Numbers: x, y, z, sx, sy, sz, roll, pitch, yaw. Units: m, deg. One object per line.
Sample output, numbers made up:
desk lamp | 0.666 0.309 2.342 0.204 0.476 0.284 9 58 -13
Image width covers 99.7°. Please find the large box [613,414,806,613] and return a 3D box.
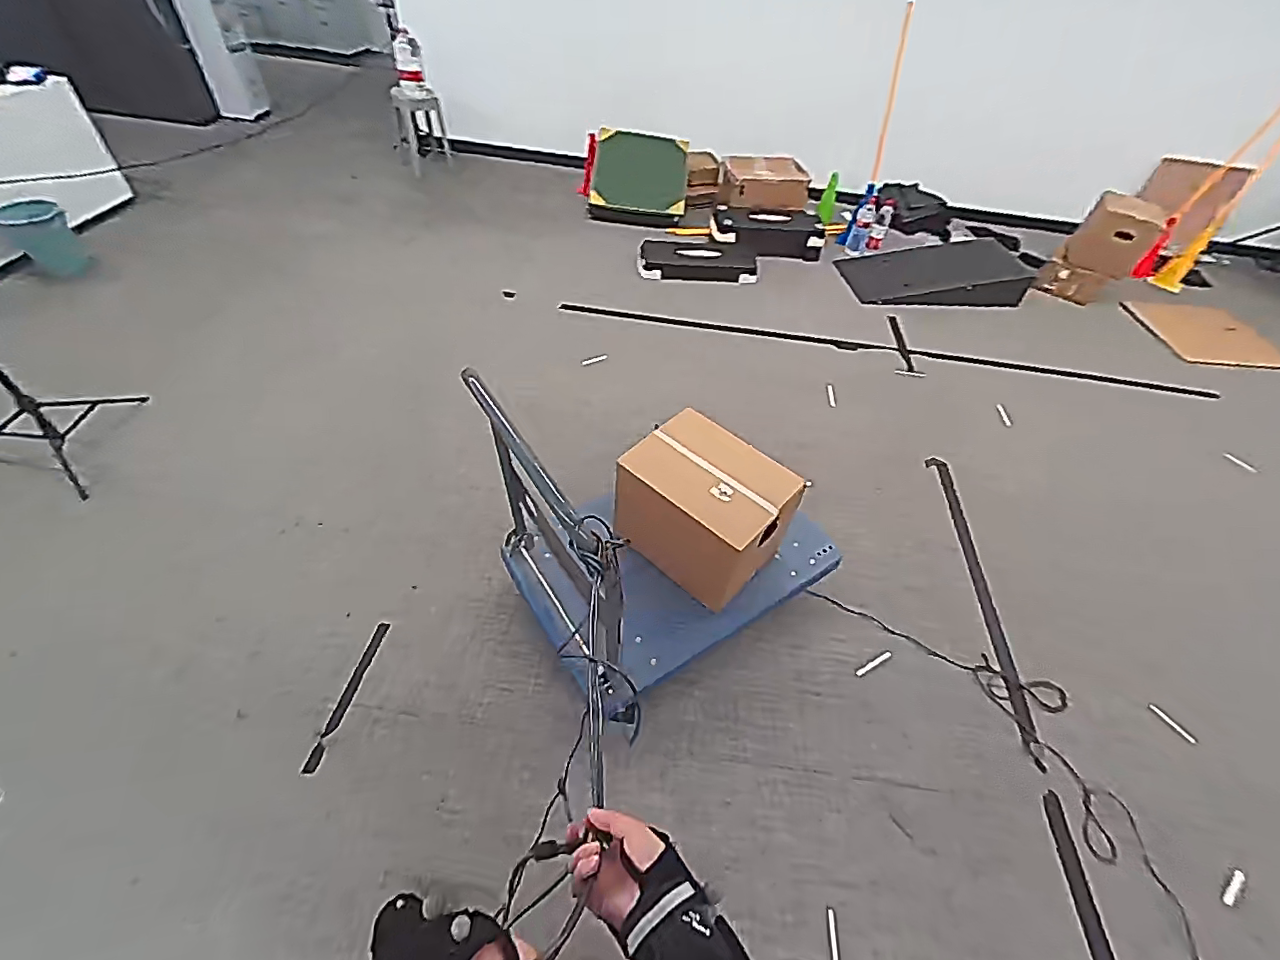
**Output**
large box | 0.175 0.087 1.515 0.408 0.320 0.320 36 55 23
